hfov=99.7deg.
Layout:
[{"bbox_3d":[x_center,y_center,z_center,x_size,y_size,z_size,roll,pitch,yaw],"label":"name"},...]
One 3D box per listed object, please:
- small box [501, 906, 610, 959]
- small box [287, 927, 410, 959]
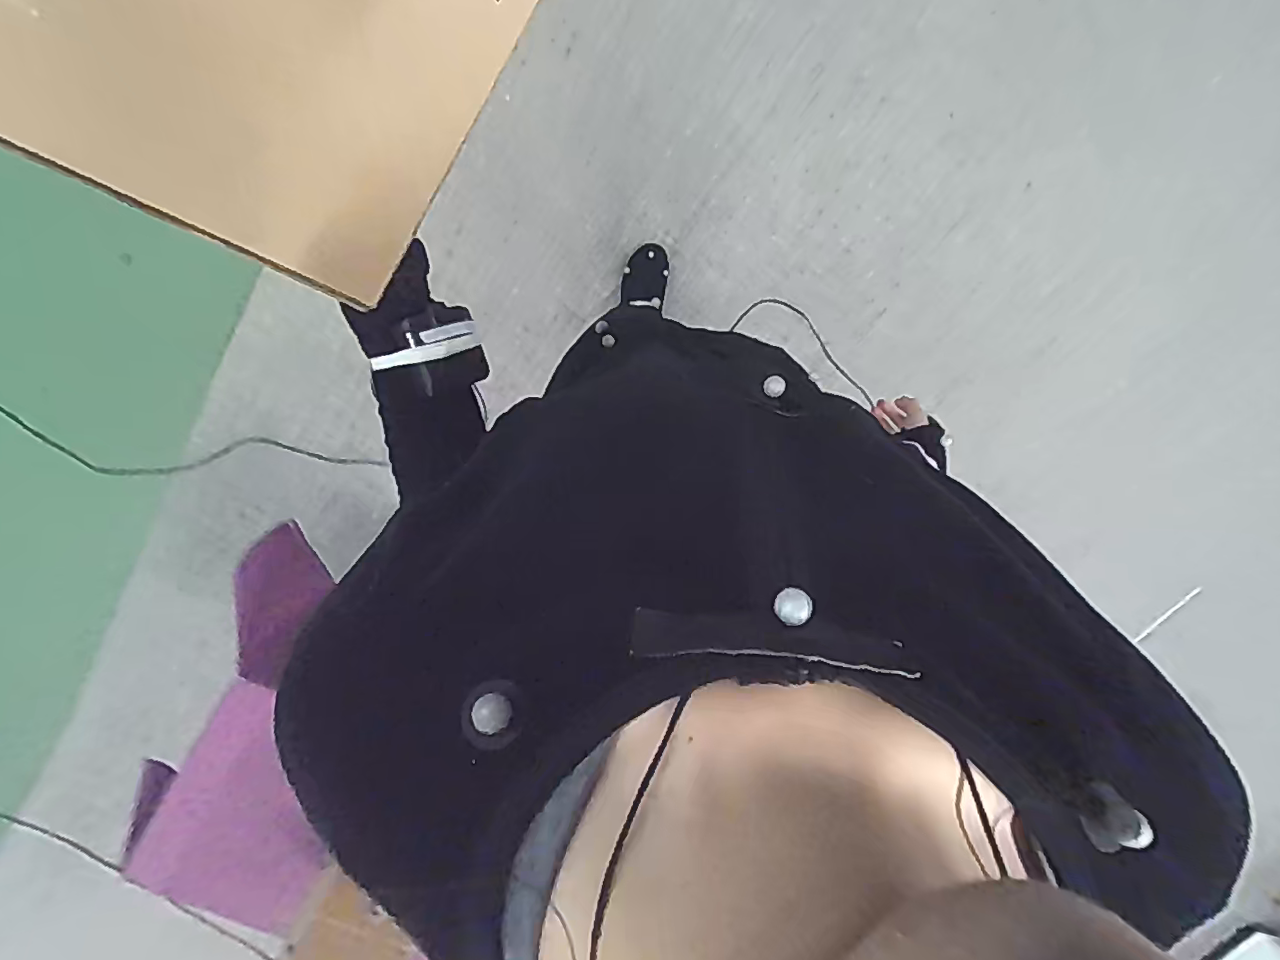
[{"bbox_3d":[-0.170,0.979,1.049,0.179,0.176,0.168,32,107,-11],"label":"small box"},{"bbox_3d":[-0.485,0.822,0.810,0.179,0.176,0.168,33,106,-13],"label":"small box"}]
